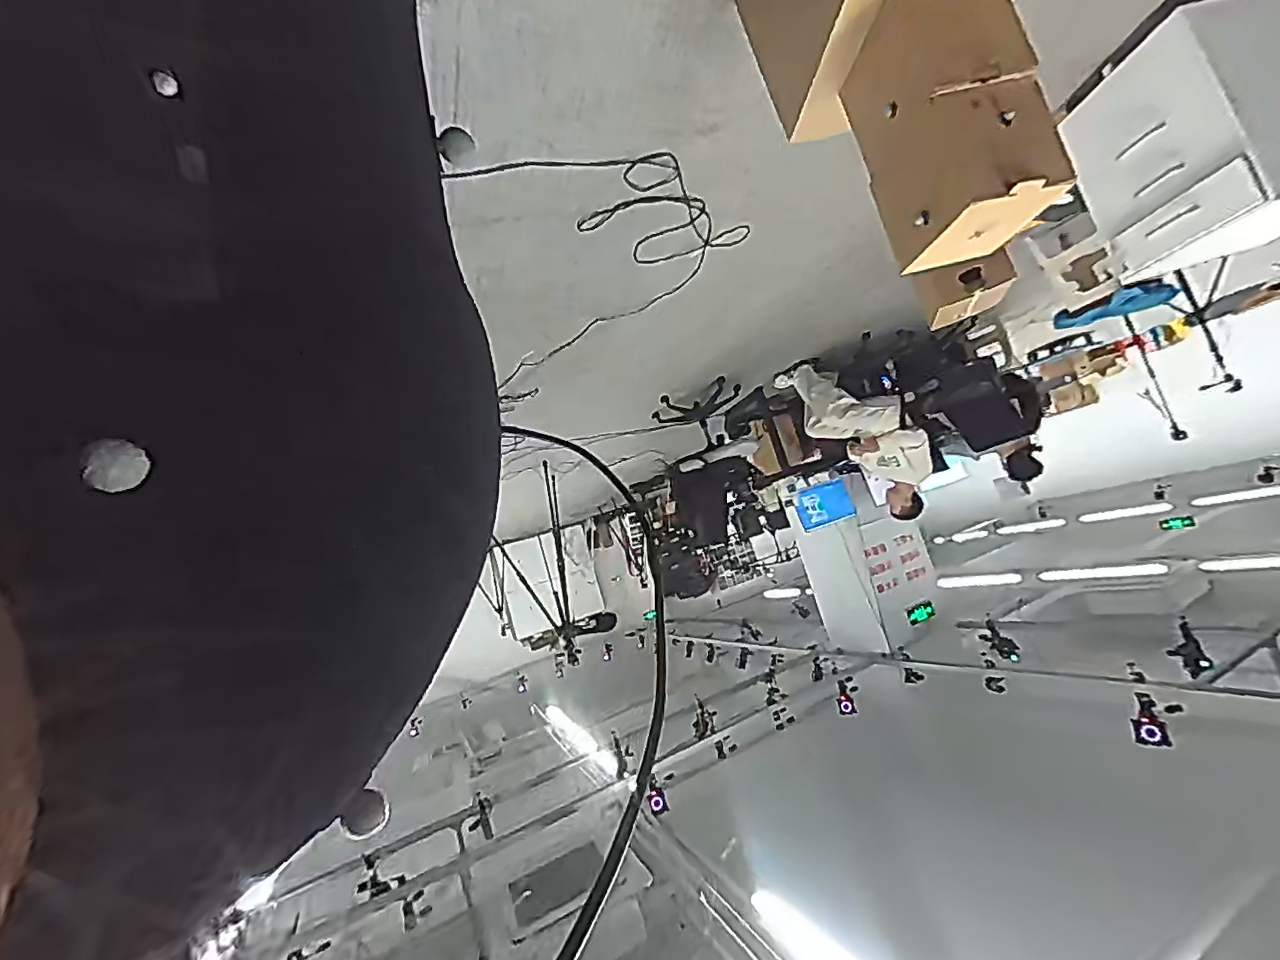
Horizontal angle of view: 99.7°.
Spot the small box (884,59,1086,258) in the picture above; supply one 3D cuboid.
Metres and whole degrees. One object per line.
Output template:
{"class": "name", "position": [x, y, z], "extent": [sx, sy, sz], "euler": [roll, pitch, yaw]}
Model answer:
{"class": "small box", "position": [0.491, -0.467, 0.802], "extent": [0.168, 0.176, 0.179], "euler": [-15, 172, -5]}

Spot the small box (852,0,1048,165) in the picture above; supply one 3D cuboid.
{"class": "small box", "position": [0.445, -0.623, 0.811], "extent": [0.168, 0.176, 0.179], "euler": [-16, 173, -5]}
